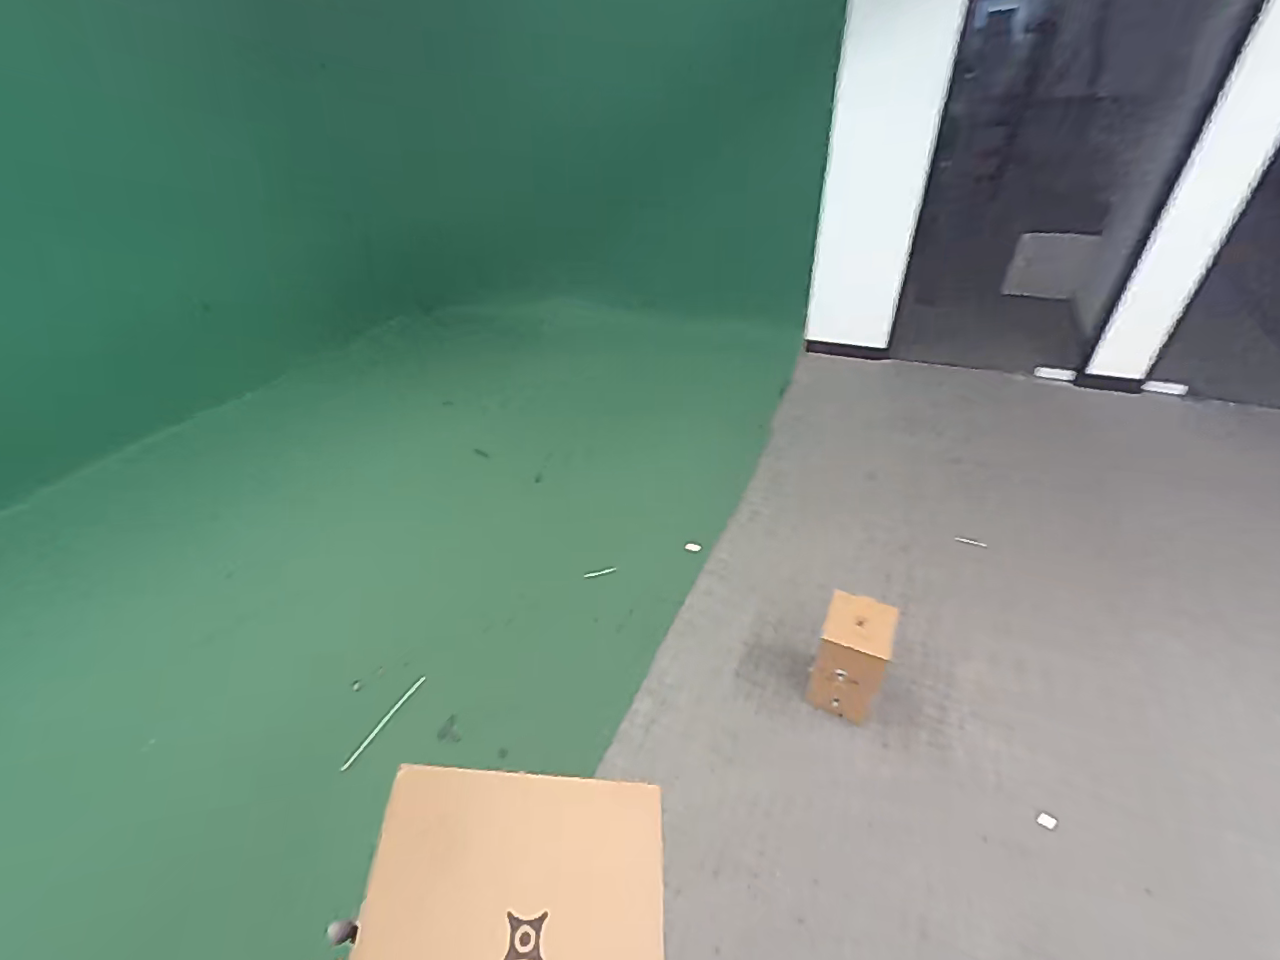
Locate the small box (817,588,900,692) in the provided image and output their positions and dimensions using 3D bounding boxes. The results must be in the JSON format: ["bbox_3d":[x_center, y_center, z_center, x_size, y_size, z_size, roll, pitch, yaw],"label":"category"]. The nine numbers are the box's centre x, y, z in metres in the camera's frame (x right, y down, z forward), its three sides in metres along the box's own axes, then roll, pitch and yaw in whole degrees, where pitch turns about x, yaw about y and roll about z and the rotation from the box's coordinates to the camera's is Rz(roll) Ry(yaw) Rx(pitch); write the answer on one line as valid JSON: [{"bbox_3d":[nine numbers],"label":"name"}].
[{"bbox_3d":[0.577,0.424,1.438,0.168,0.176,0.179,13,43,24],"label":"small box"}]

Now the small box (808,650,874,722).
[{"bbox_3d":[0.586,0.550,1.541,0.168,0.176,0.179,17,44,26],"label":"small box"}]
